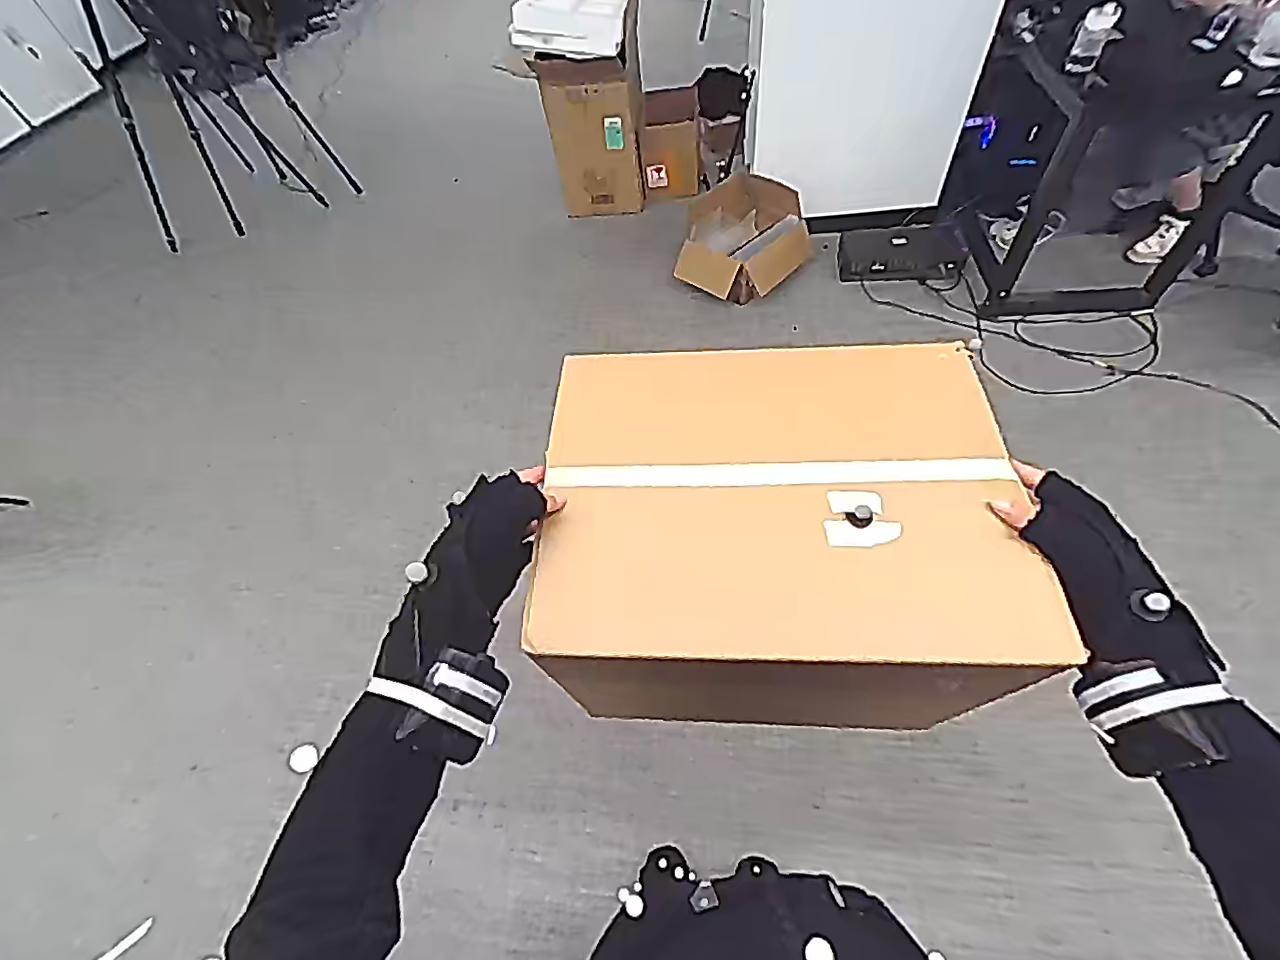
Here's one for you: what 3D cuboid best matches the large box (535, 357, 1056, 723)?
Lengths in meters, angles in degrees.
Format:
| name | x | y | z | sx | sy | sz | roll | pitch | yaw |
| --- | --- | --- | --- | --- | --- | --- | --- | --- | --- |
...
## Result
| name | x | y | z | sx | sy | sz | roll | pitch | yaw |
| --- | --- | --- | --- | --- | --- | --- | --- | --- | --- |
| large box | 0.126 | 0.086 | 0.617 | 0.408 | 0.320 | 0.320 | -1 | 58 | 5 |
